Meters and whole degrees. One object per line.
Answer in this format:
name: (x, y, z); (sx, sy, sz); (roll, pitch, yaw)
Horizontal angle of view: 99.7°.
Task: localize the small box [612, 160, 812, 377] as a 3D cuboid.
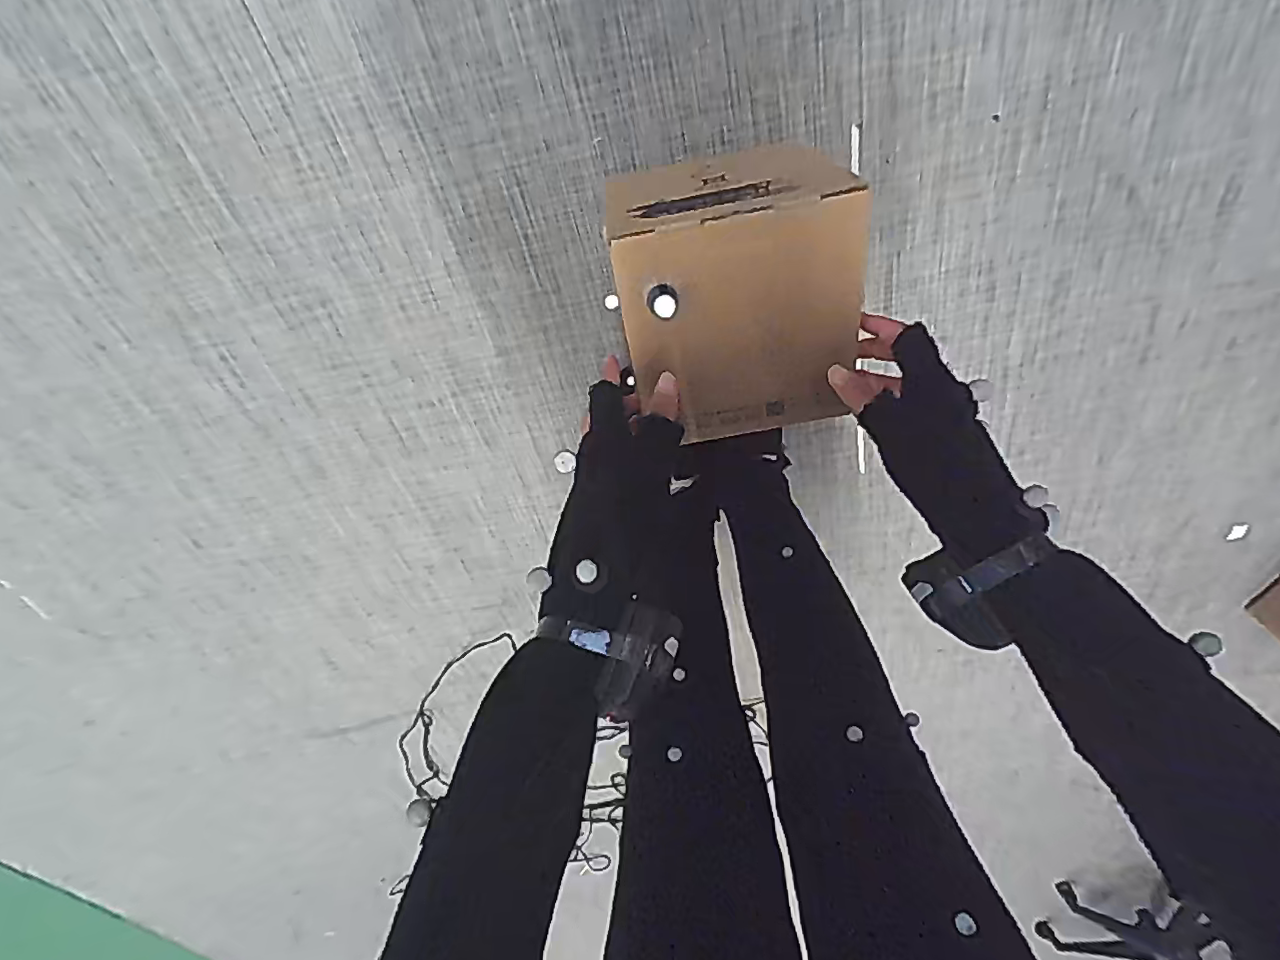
small box: (0.076, -0.244, 0.612); (0.179, 0.176, 0.168); (-15, 122, 10)
